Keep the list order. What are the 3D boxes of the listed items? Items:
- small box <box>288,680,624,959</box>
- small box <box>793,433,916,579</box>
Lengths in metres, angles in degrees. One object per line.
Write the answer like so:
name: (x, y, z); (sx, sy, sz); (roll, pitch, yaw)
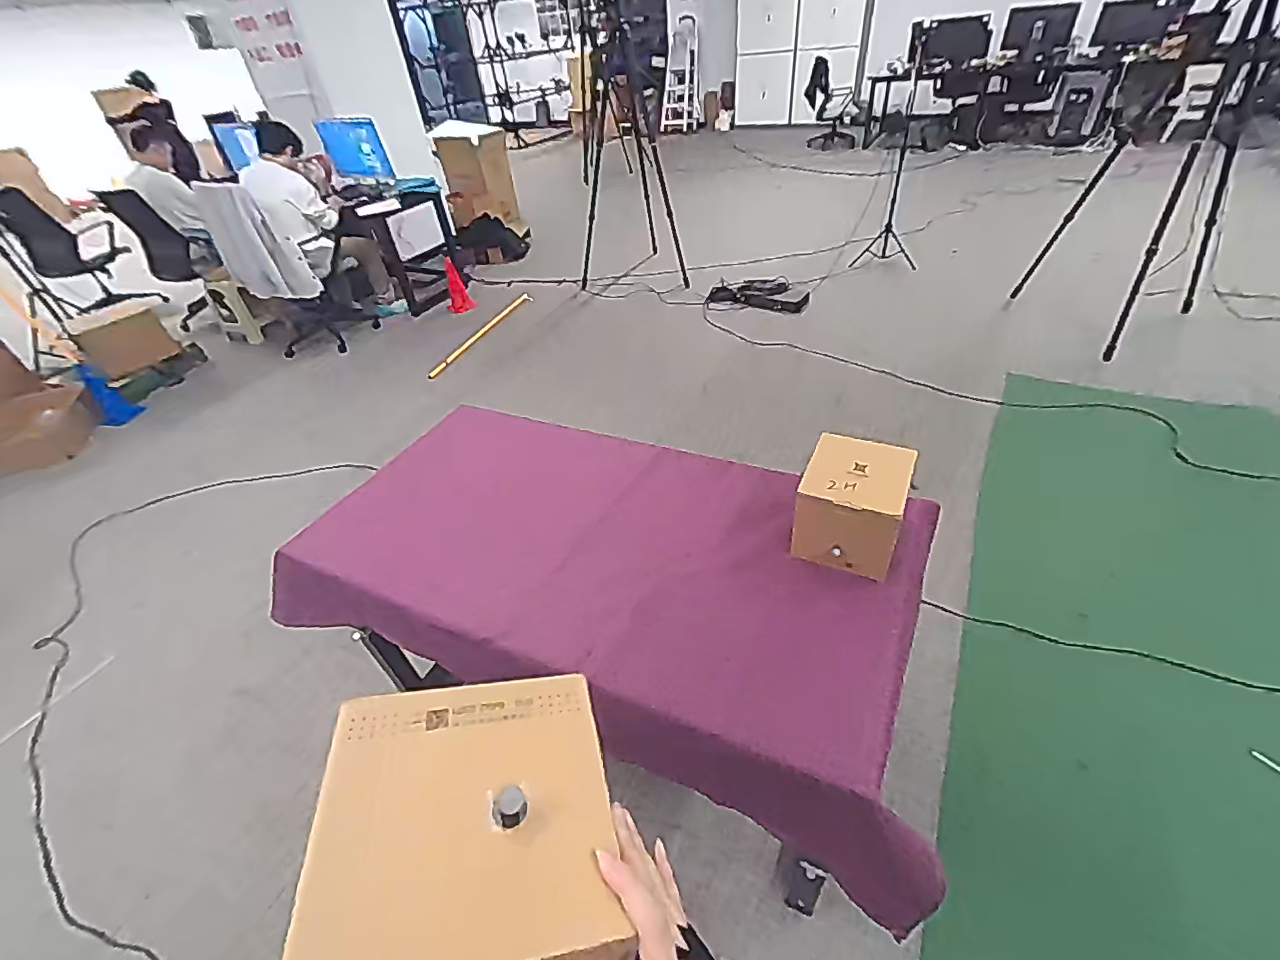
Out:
small box: (-0.119, 0.255, 0.365); (0.168, 0.179, 0.176); (-1, 33, -17)
small box: (0.381, 0.044, 0.978); (0.168, 0.176, 0.179); (15, 48, 26)
